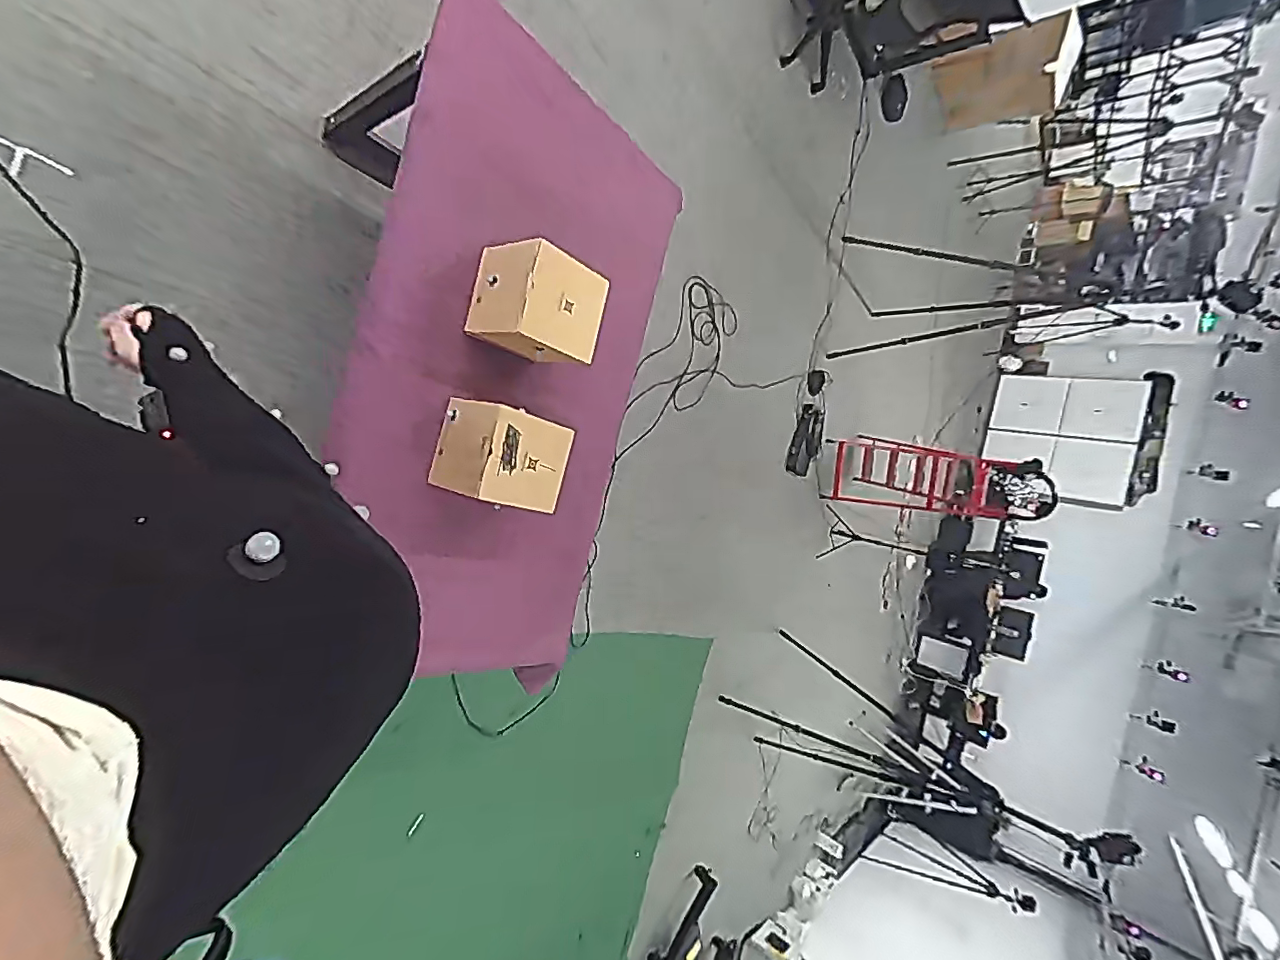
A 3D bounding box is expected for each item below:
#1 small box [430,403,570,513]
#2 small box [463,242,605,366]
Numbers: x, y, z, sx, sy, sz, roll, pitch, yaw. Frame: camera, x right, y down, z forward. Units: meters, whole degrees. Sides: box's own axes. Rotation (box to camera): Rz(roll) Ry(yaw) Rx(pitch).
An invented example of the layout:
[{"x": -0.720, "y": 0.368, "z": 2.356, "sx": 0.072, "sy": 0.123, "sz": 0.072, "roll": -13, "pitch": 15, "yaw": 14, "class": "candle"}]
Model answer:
[{"x": -0.265, "y": -0.043, "z": 1.014, "sx": 0.179, "sy": 0.176, "sz": 0.168, "roll": 15, "pitch": 87, "yaw": -49, "class": "small box"}, {"x": -0.200, "y": -0.325, "z": 1.018, "sx": 0.179, "sy": 0.176, "sz": 0.168, "roll": 13, "pitch": 90, "yaw": -49, "class": "small box"}]
